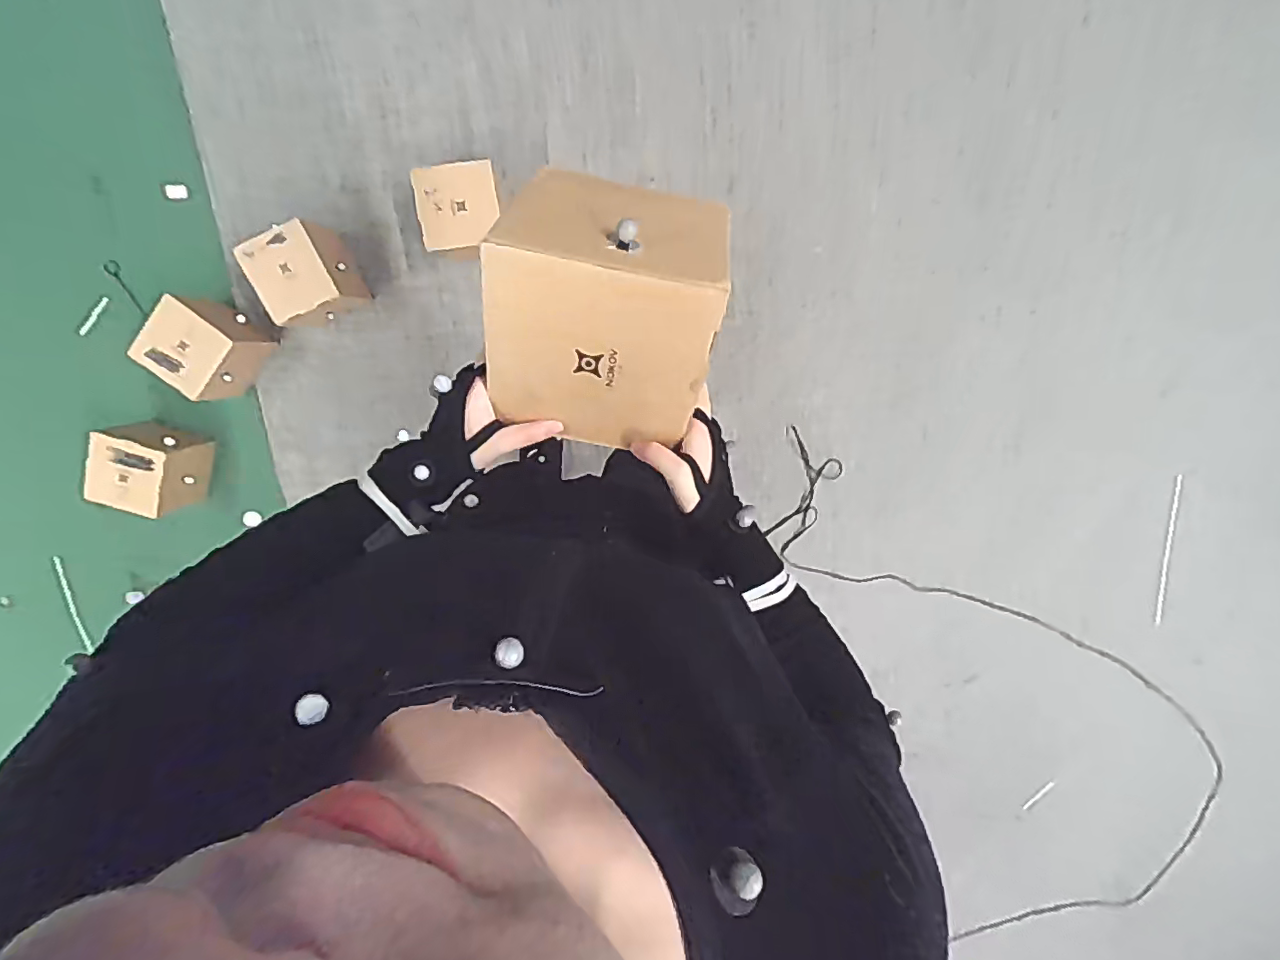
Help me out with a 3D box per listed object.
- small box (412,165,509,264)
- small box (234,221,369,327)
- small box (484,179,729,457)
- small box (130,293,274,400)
[{"bbox_3d":[-0.392,-0.599,1.234,0.179,0.176,0.168,-7,104,-1],"label":"small box"},{"bbox_3d":[-0.769,-0.469,1.252,0.168,0.176,0.179,-22,104,3],"label":"small box"},{"bbox_3d":[-0.028,-0.148,0.485,0.179,0.176,0.168,10,135,-3],"label":"small box"},{"bbox_3d":[-1.023,-0.313,1.280,0.168,0.176,0.179,40,99,-11],"label":"small box"}]
